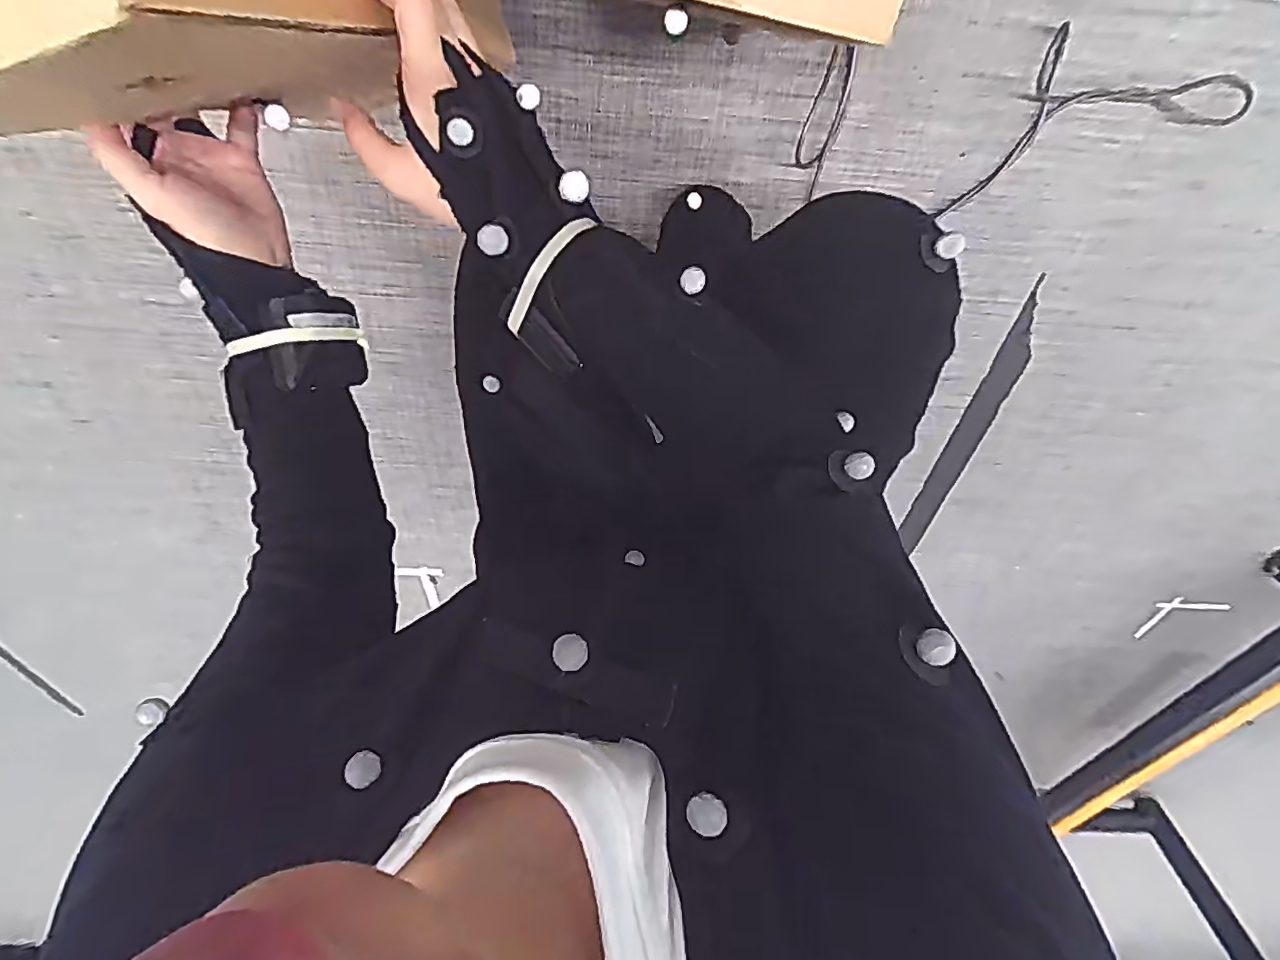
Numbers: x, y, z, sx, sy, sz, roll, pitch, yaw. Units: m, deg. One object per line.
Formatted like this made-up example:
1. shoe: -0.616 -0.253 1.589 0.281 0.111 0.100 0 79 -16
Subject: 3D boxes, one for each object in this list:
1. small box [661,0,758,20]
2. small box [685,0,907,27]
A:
1. small box: 0.048 -0.444 0.377 0.179 0.176 0.168 8 129 -6
2. small box: 0.050 -0.335 0.254 0.179 0.176 0.168 8 130 -7
